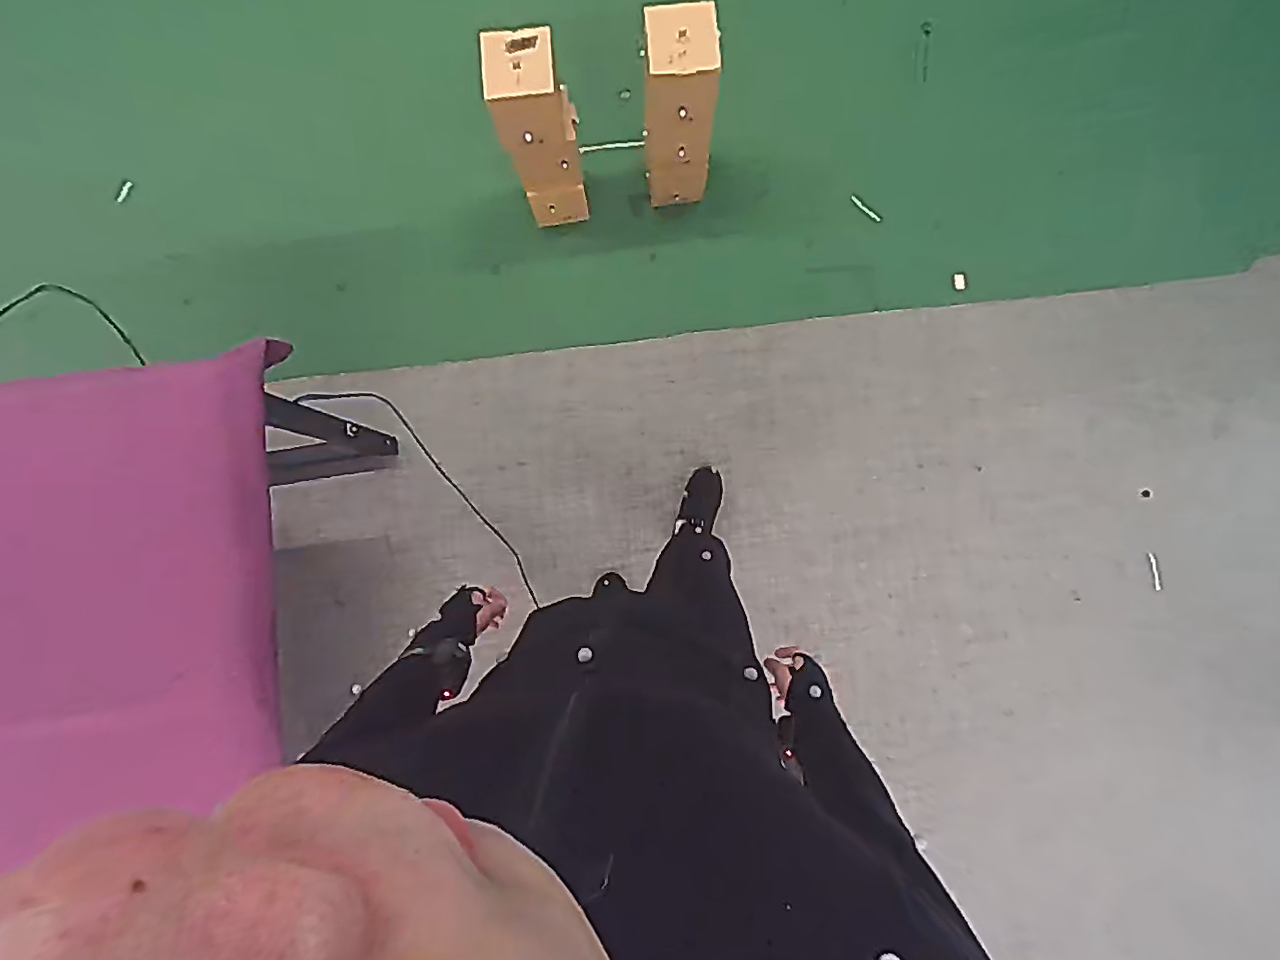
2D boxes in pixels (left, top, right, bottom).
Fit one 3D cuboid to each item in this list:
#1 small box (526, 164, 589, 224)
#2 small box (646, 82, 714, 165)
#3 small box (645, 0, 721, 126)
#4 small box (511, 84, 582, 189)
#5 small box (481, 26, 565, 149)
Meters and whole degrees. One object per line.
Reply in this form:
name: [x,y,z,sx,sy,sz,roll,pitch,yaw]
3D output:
small box: [-0.254,-0.907,1.646,0.168,0.176,0.179,-9,84,1]
small box: [0.106,-0.993,1.481,0.168,0.176,0.179,-6,86,-1]
small box: [0.100,-1.008,1.317,0.168,0.176,0.179,-5,86,1]
small box: [-0.260,-0.937,1.486,0.179,0.176,0.168,-9,83,1]
small box: [-0.280,-0.953,1.323,0.168,0.176,0.179,-5,84,1]
